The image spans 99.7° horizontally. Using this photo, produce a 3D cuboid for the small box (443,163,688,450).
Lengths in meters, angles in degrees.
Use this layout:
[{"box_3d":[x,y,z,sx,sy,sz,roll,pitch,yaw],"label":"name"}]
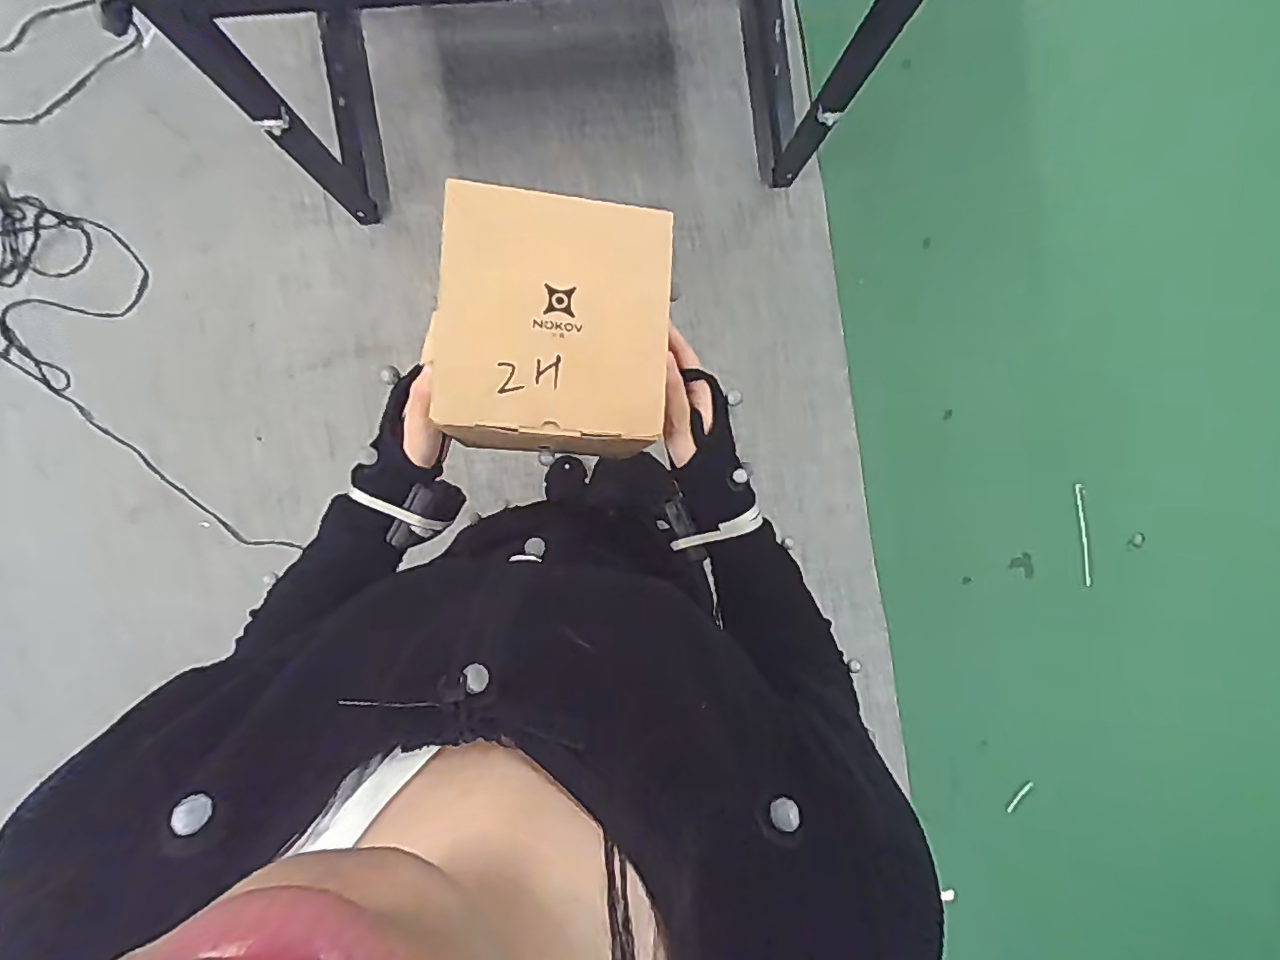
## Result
[{"box_3d":[-0.063,-0.125,0.461,0.168,0.176,0.179,3,87,-10],"label":"small box"}]
